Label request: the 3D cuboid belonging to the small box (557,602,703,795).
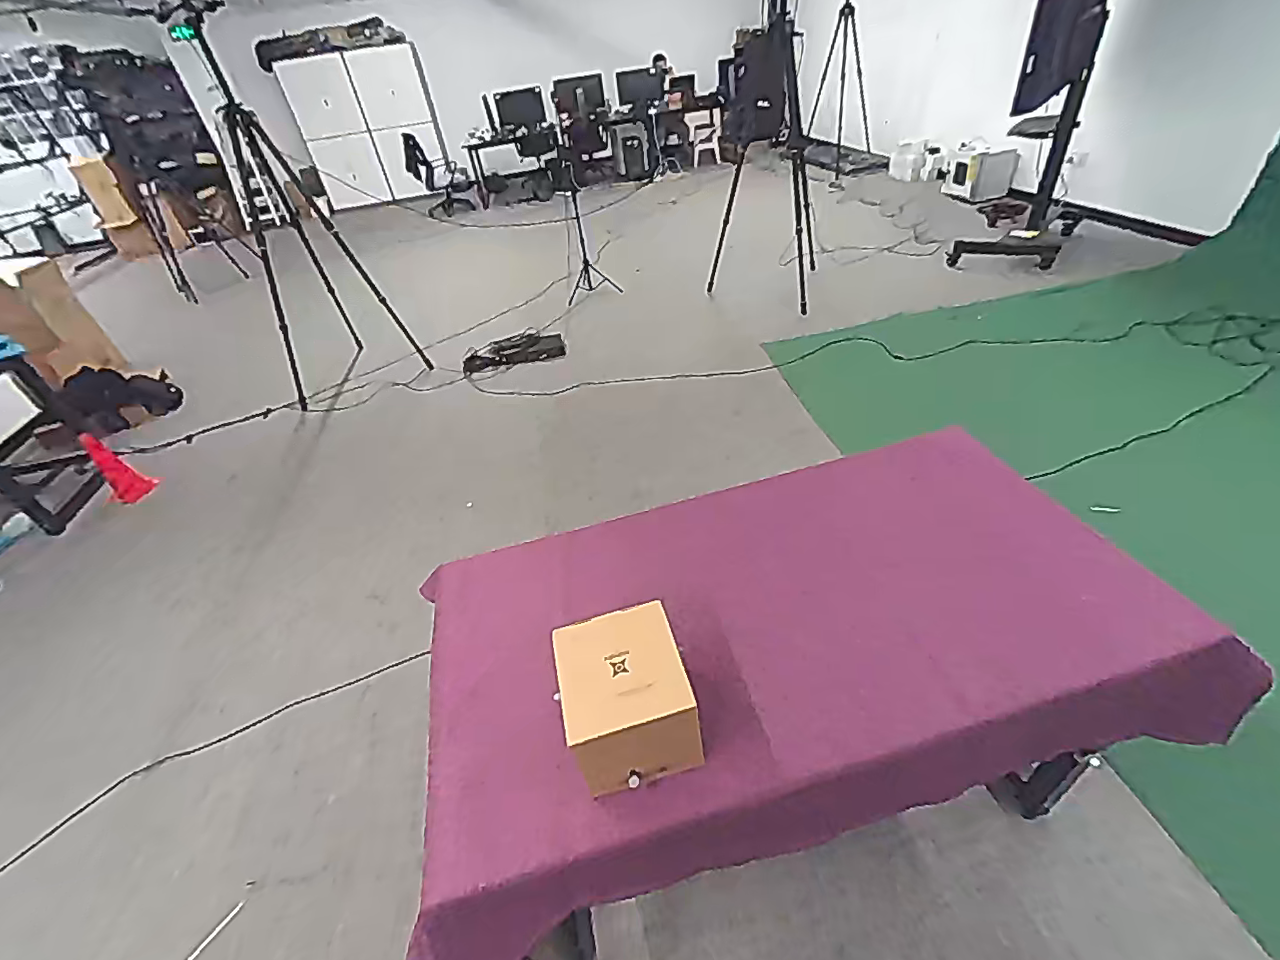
[{"bbox_3d":[-0.015,0.310,0.773,0.168,0.176,0.179,-15,40,-5],"label":"small box"}]
